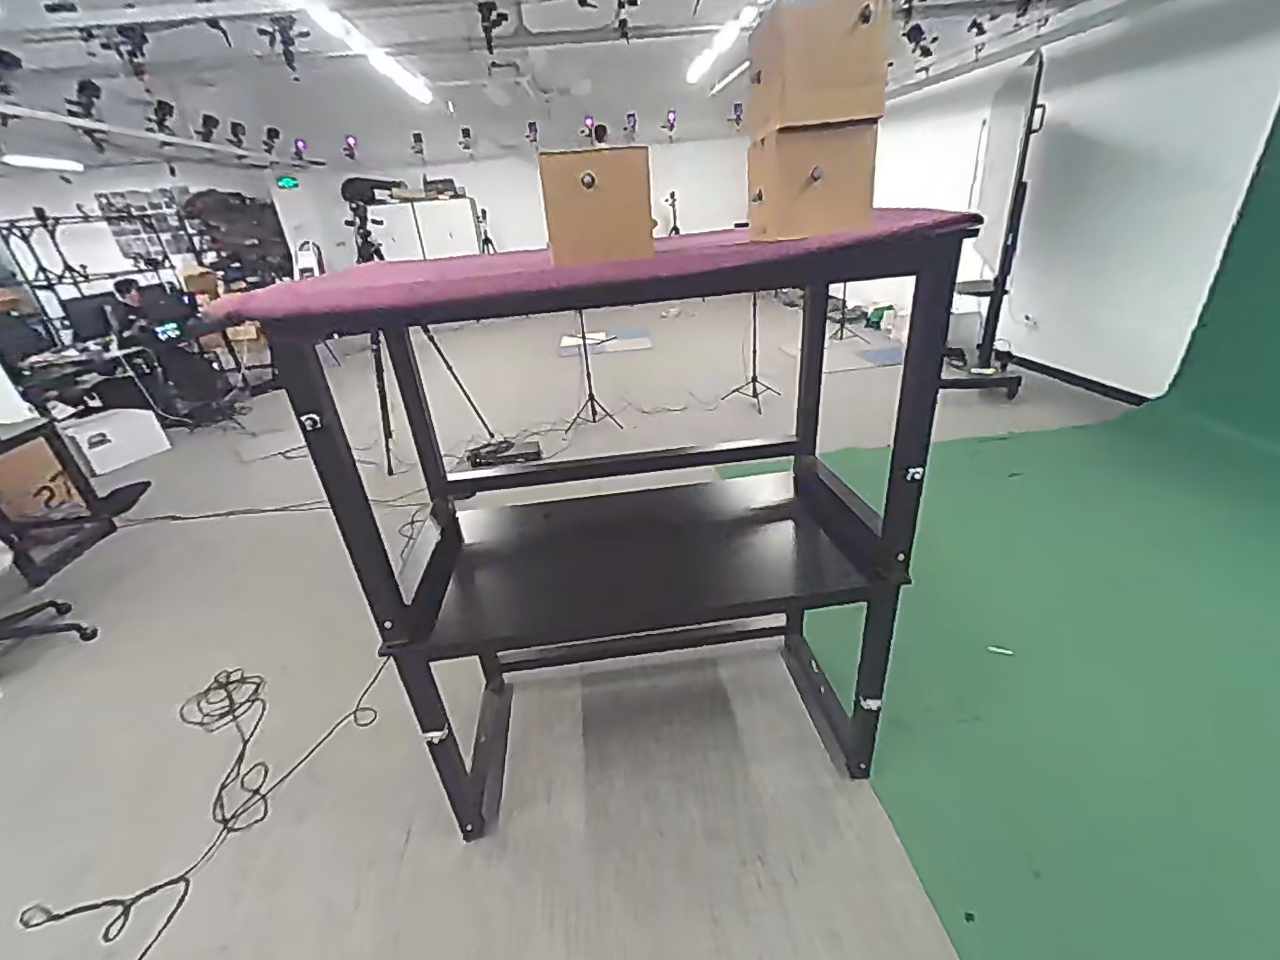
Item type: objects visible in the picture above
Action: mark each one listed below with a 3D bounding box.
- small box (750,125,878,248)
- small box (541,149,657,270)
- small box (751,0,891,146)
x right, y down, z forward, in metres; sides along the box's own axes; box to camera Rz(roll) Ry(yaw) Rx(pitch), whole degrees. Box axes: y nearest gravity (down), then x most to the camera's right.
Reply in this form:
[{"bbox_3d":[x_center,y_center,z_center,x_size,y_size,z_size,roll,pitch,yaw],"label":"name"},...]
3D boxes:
[{"bbox_3d":[0.308,-0.518,0.977,0.179,0.176,0.168,-8,25,-2],"label":"small box"},{"bbox_3d":[-0.068,-0.468,0.948,0.179,0.176,0.168,-5,27,-2],"label":"small box"},{"bbox_3d":[0.293,-0.661,0.898,0.179,0.176,0.168,-7,24,-2],"label":"small box"}]
